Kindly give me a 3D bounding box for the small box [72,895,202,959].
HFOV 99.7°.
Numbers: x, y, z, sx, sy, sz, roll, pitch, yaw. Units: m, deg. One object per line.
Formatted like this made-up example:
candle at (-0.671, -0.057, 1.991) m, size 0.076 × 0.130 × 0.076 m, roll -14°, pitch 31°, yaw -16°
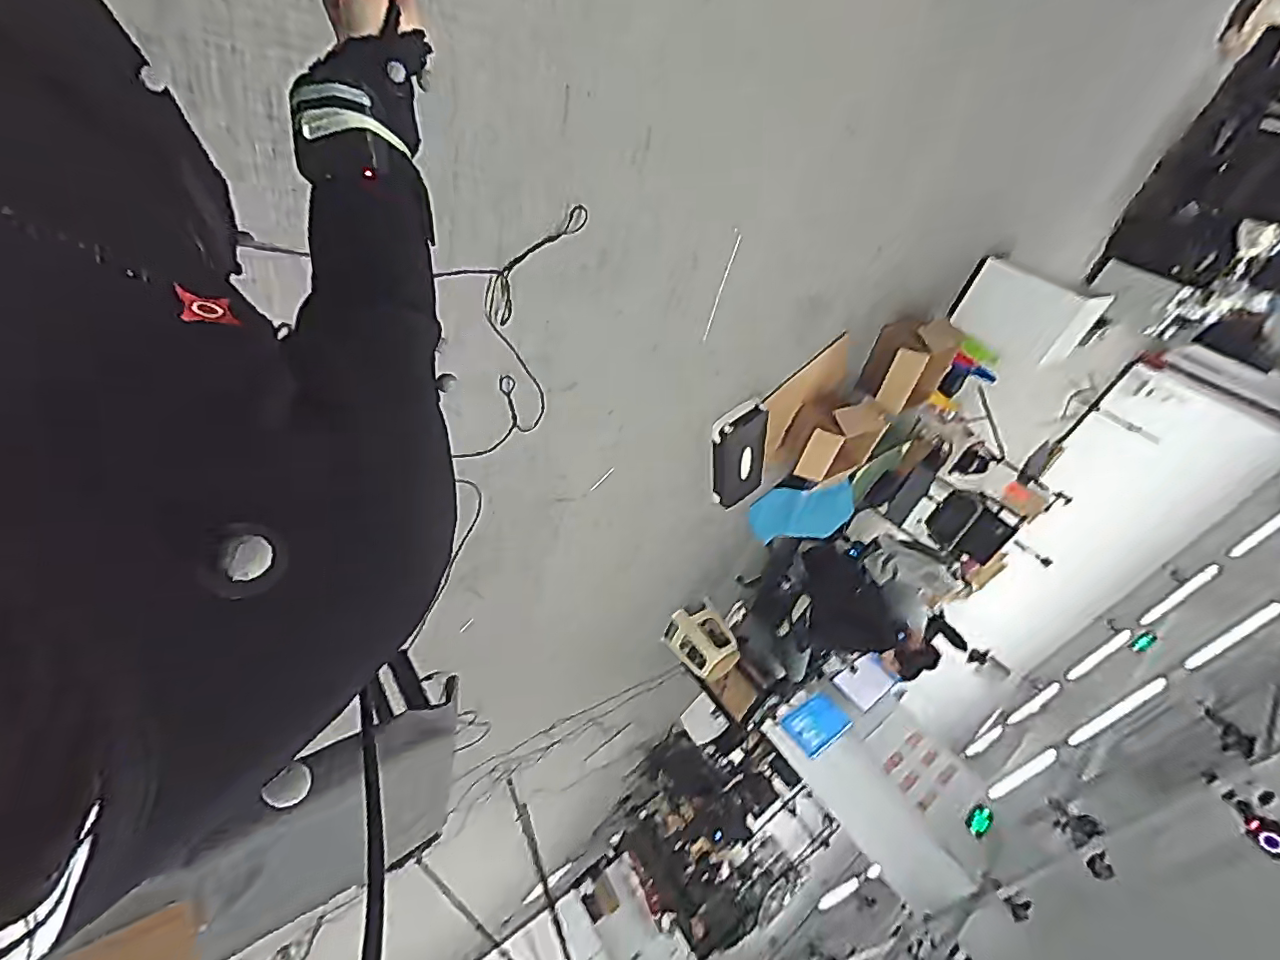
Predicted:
small box at (-0.942, 0.942, 1.017) m, size 0.179 × 0.176 × 0.168 m, roll -8°, pitch 136°, yaw -43°
